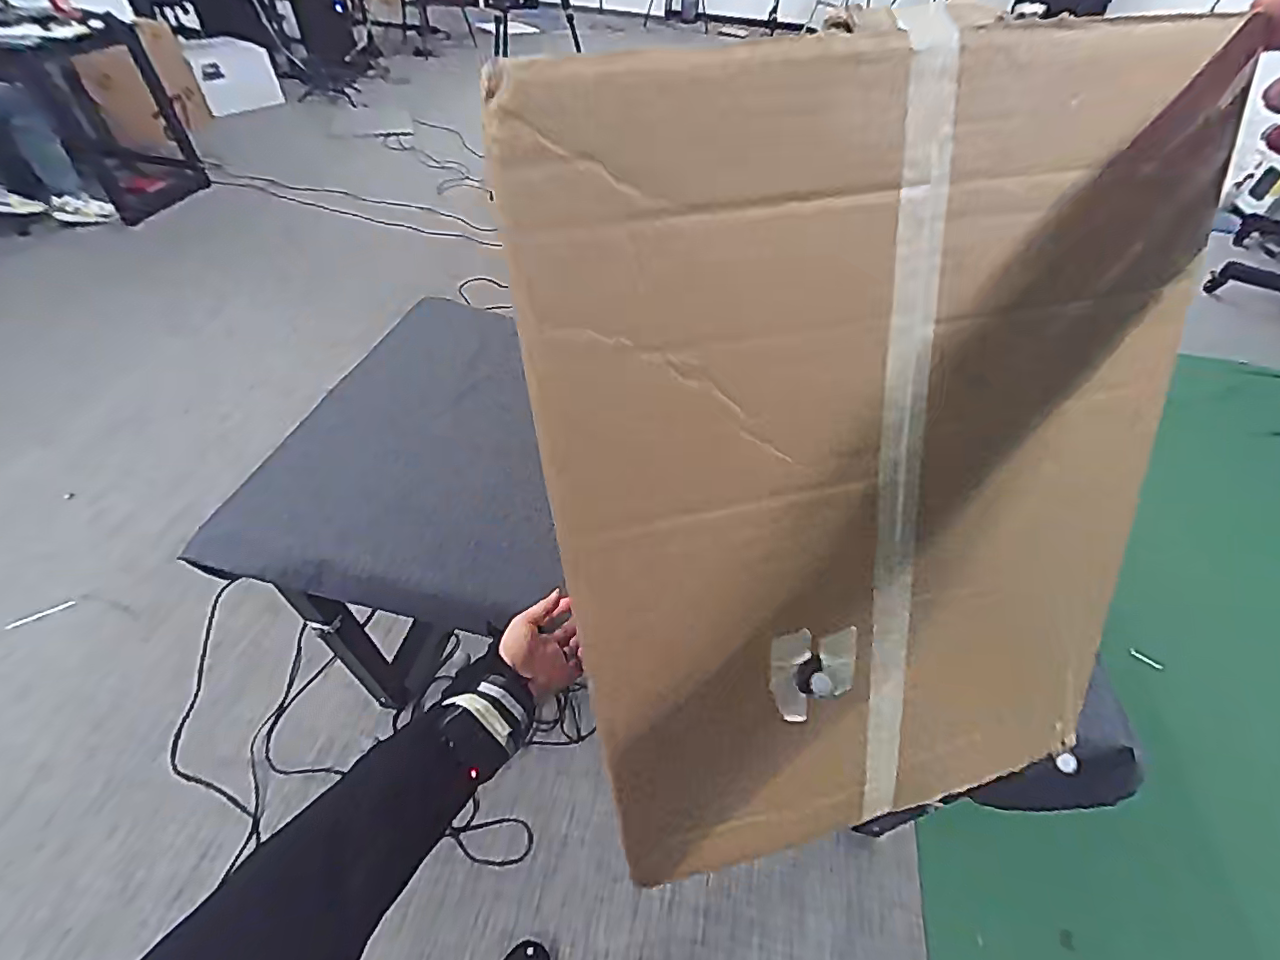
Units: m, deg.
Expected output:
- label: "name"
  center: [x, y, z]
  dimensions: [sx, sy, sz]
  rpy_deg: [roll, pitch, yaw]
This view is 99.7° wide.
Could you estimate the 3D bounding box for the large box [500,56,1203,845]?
- label: "large box"
  center: [0.093, -0.032, 0.424]
  dimensions: [0.320, 0.408, 0.320]
  rpy_deg: [-12, 25, -10]
